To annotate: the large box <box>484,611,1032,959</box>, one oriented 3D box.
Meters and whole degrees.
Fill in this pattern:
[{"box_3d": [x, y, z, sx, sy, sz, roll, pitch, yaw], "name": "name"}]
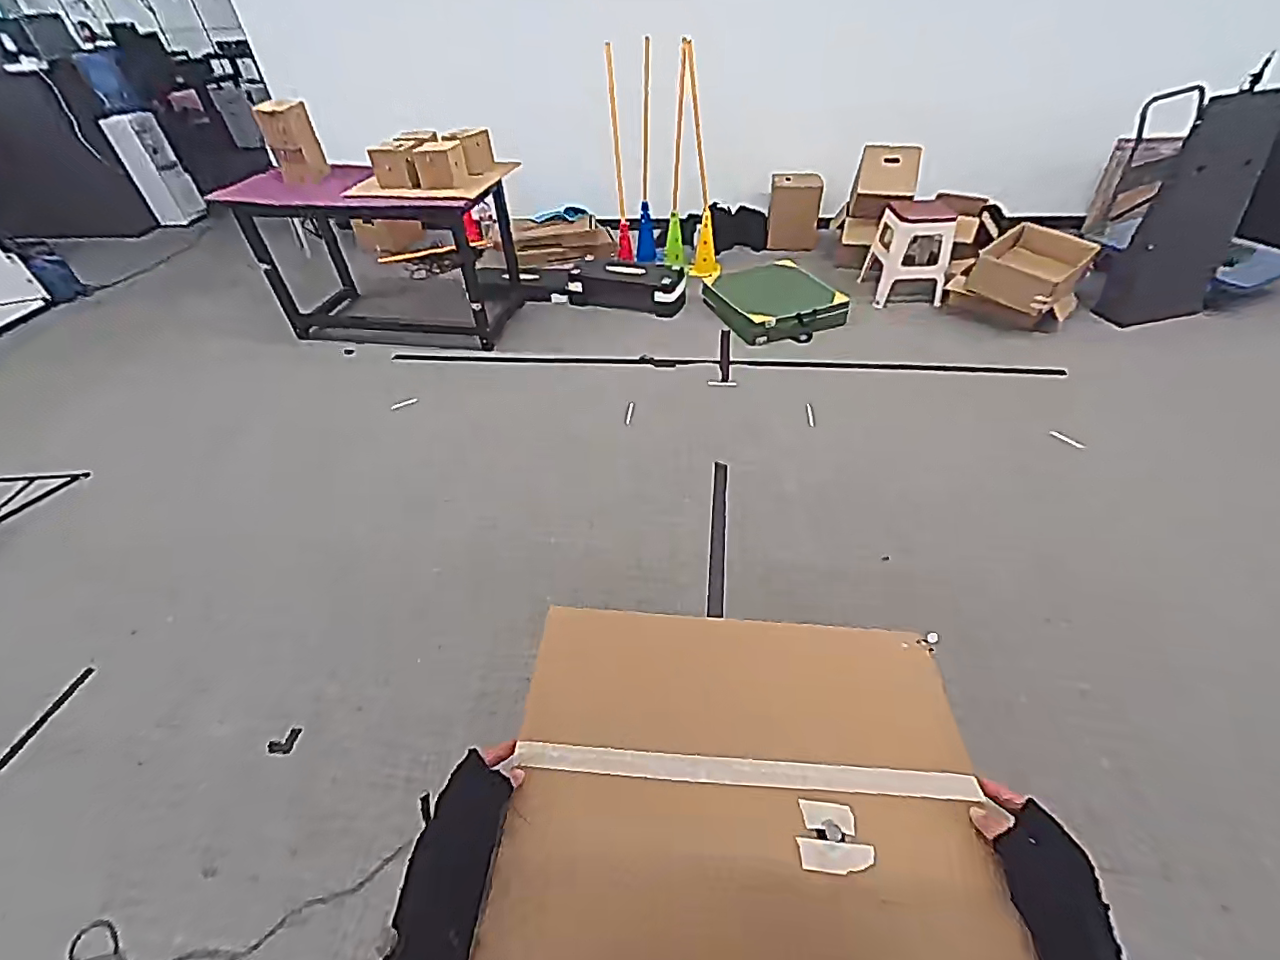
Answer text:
[{"box_3d": [0.088, 0.369, 0.583, 0.408, 0.320, 0.320, 4, 43, 2], "name": "large box"}]
